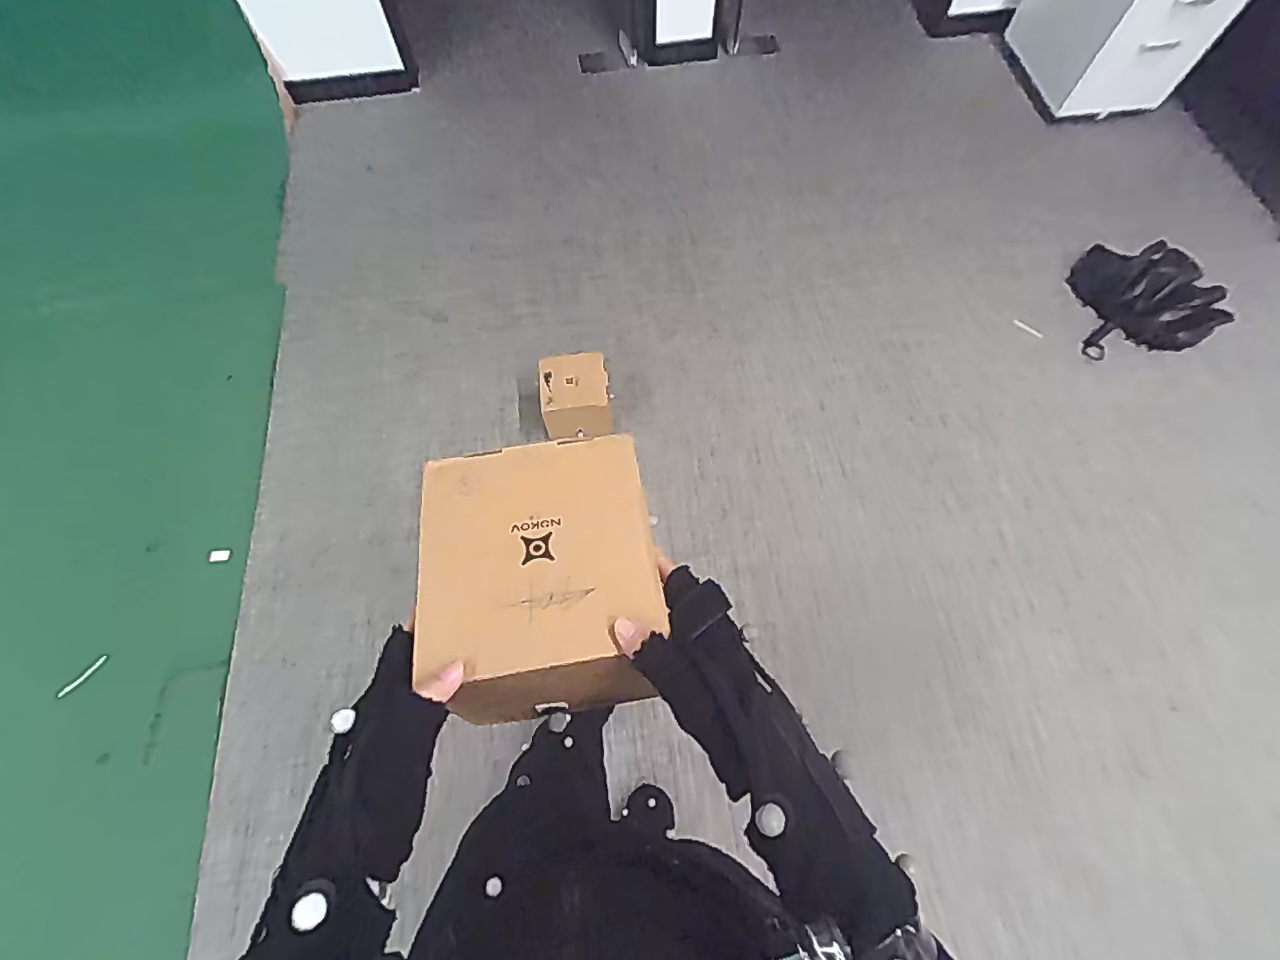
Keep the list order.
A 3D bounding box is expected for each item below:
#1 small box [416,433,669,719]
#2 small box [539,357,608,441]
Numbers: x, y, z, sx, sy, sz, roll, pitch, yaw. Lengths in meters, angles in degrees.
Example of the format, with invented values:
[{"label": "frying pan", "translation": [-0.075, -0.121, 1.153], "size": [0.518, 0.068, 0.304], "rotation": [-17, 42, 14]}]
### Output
[{"label": "small box", "translation": [-0.074, 0.086, 0.460], "size": [0.168, 0.176, 0.179], "rotation": [-8, 58, -5]}, {"label": "small box", "translation": [-0.179, -0.219, 1.492], "size": [0.179, 0.176, 0.168], "rotation": [-6, 66, -3]}]
